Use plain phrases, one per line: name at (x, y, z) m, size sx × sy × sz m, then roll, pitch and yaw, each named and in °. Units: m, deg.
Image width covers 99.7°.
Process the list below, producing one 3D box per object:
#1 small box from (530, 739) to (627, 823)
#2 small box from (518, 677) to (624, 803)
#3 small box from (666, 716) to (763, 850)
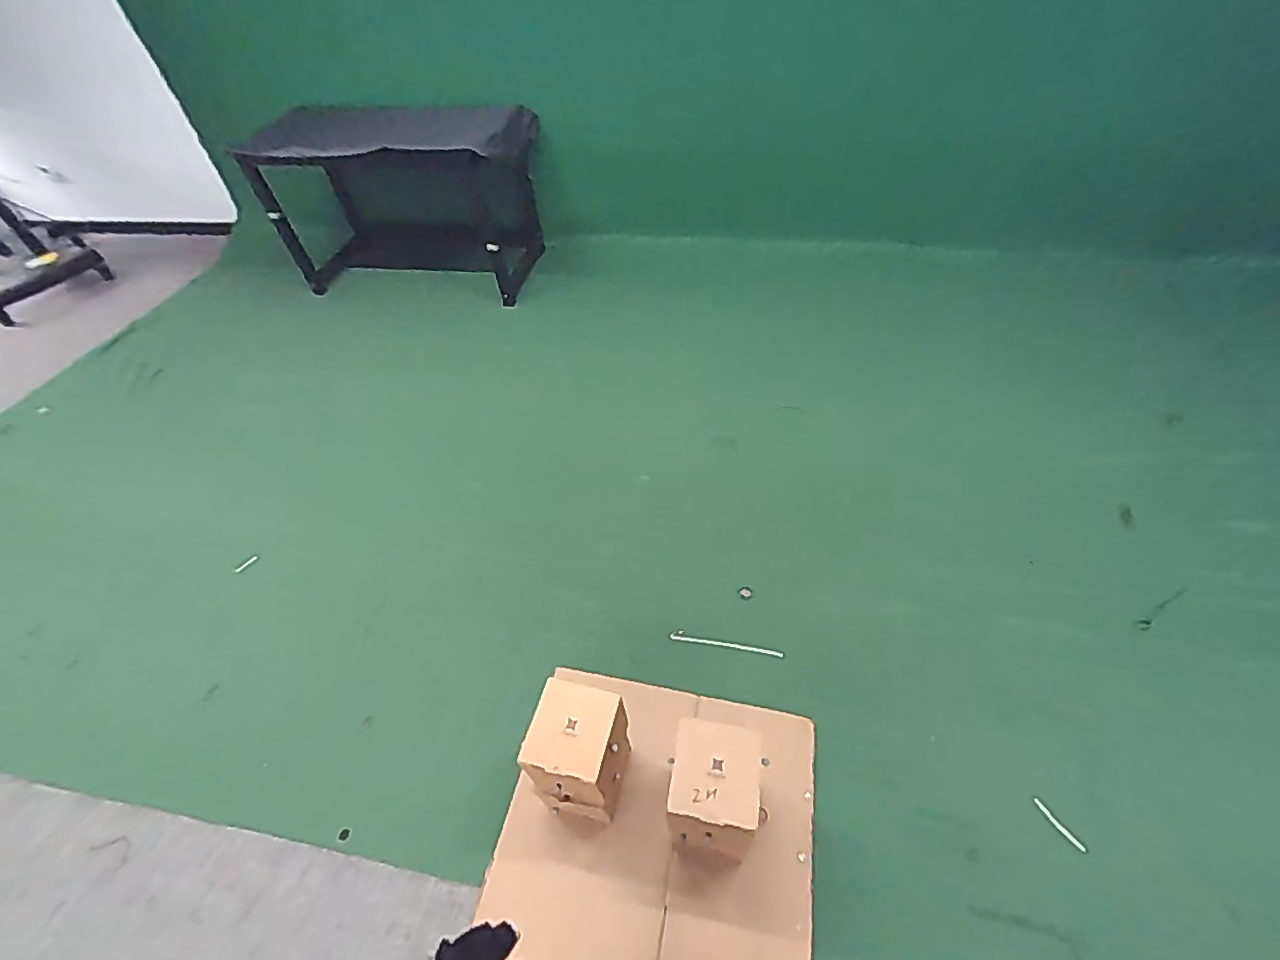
small box at (-0.132, 0.668, 1.255) m, size 0.168 × 0.176 × 0.179 m, roll 8°, pitch 48°, yaw 13°
small box at (-0.134, 0.550, 1.142) m, size 0.168 × 0.176 × 0.179 m, roll 9°, pitch 50°, yaw 13°
small box at (0.147, 0.600, 1.071) m, size 0.168 × 0.176 × 0.179 m, roll 6°, pitch 48°, yaw 12°
